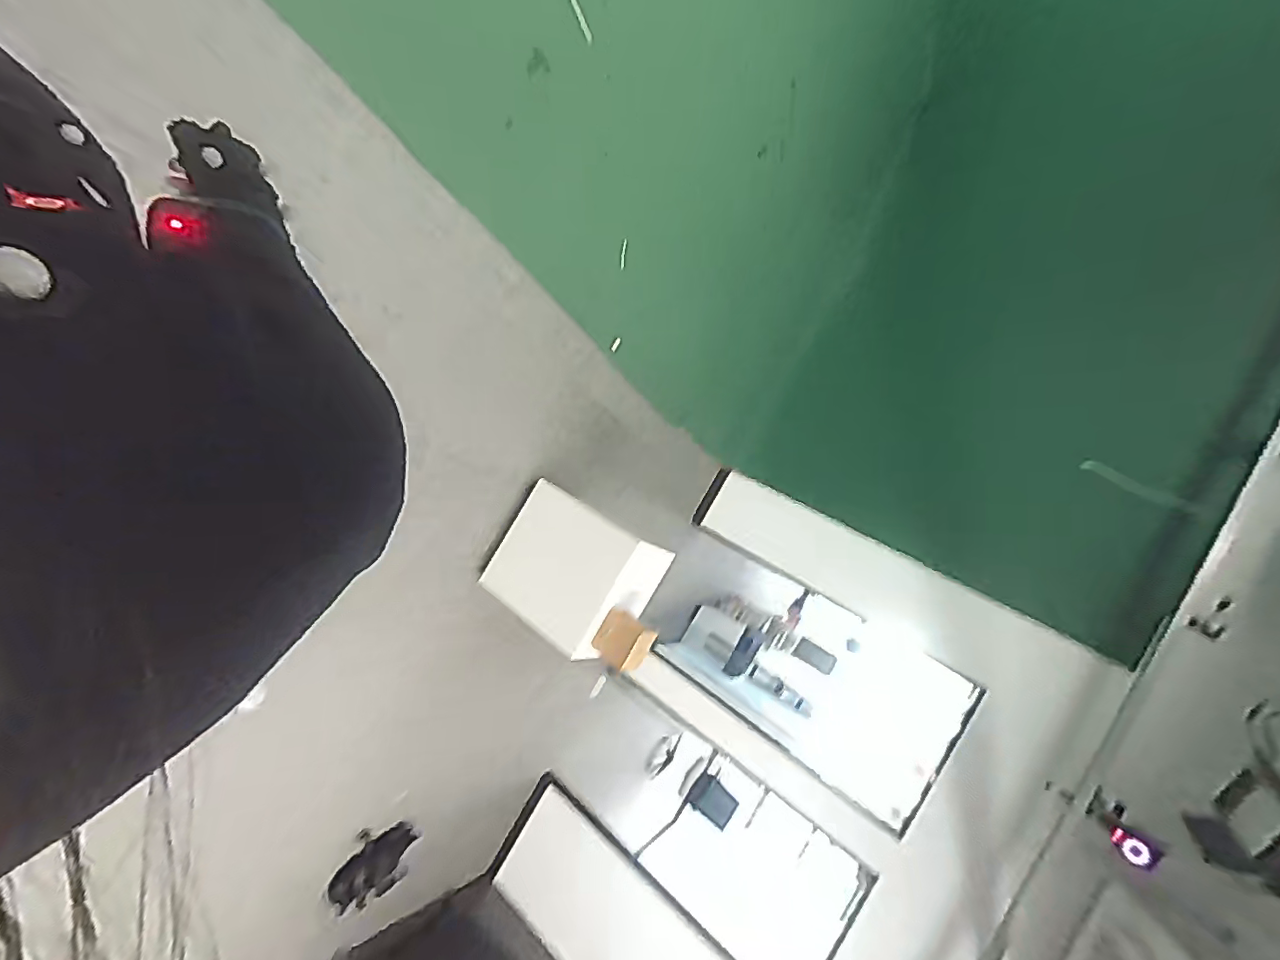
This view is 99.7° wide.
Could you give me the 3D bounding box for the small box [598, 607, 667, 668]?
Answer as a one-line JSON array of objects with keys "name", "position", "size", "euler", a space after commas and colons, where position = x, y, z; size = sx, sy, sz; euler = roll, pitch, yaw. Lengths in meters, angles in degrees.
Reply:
[{"name": "small box", "position": [-0.030, 0.614, 2.122], "size": [0.168, 0.176, 0.179], "euler": [-62, 150, 0]}]
